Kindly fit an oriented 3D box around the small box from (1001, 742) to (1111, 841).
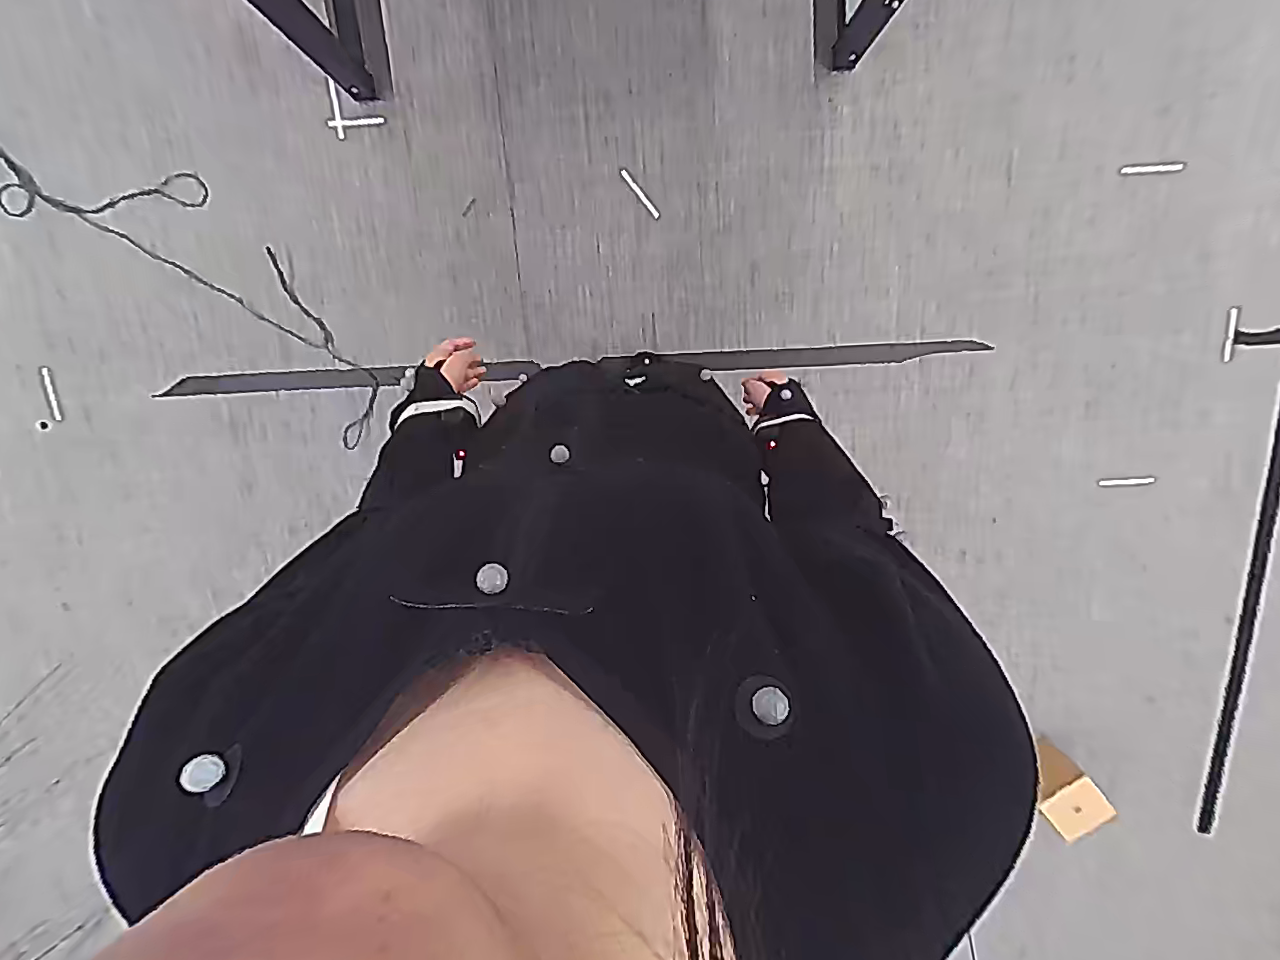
[{"bbox_3d":[1.256,0.935,1.648,0.168,0.176,0.179,-40,101,9],"label":"small box"}]
